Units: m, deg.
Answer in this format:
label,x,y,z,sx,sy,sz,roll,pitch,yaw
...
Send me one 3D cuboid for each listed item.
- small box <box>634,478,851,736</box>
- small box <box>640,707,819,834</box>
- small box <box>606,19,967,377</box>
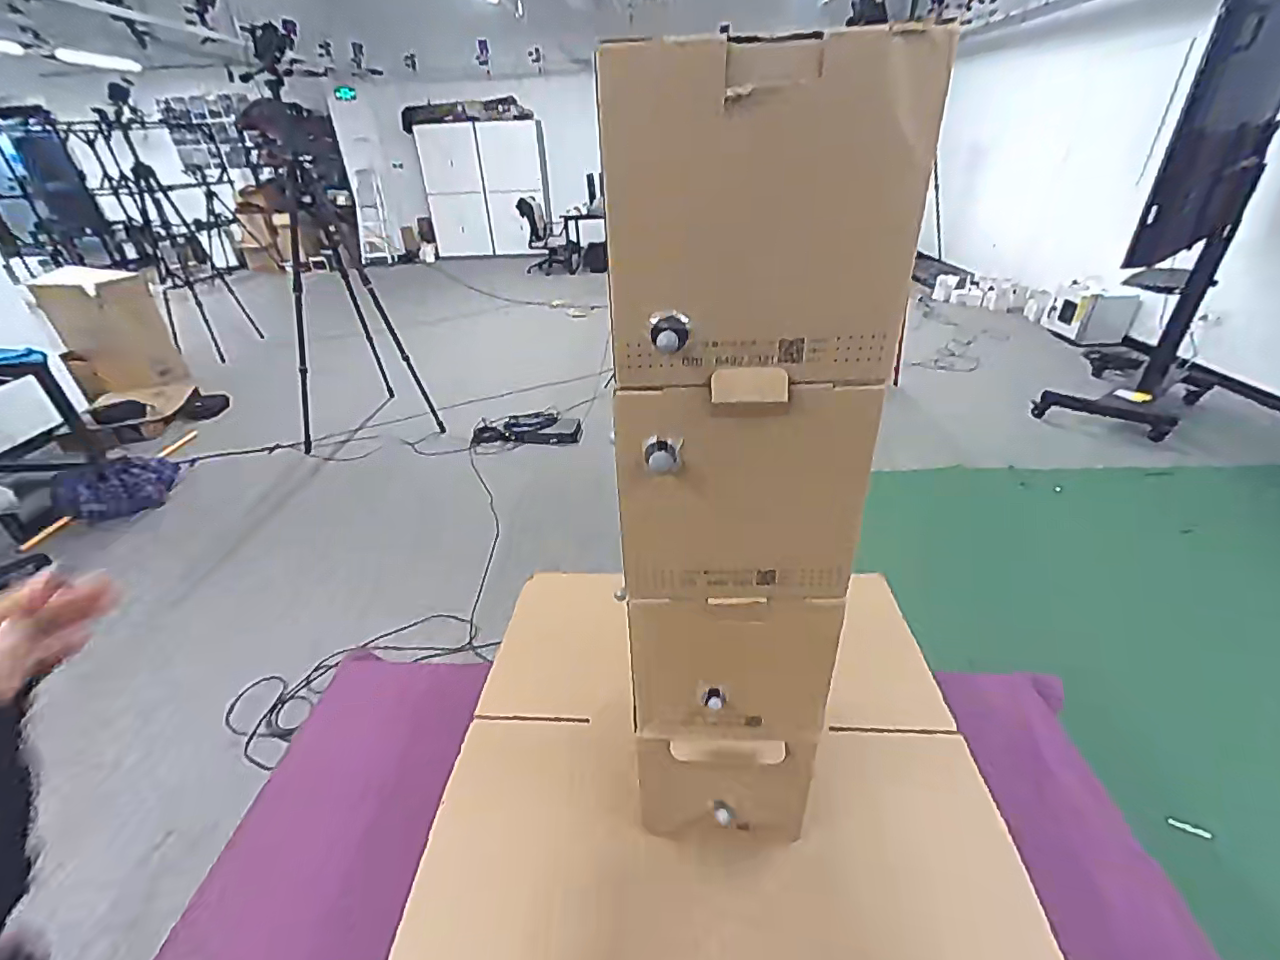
label,x,y,z,sx,sy,sz,roll,pitch,yaw
small box,0.081,0.113,0.517,0.168,0.176,0.179,-1,31,3
small box,0.089,0.252,0.600,0.168,0.176,0.179,0,31,5
small box,0.068,-0.172,0.352,0.168,0.176,0.179,-3,32,-1
